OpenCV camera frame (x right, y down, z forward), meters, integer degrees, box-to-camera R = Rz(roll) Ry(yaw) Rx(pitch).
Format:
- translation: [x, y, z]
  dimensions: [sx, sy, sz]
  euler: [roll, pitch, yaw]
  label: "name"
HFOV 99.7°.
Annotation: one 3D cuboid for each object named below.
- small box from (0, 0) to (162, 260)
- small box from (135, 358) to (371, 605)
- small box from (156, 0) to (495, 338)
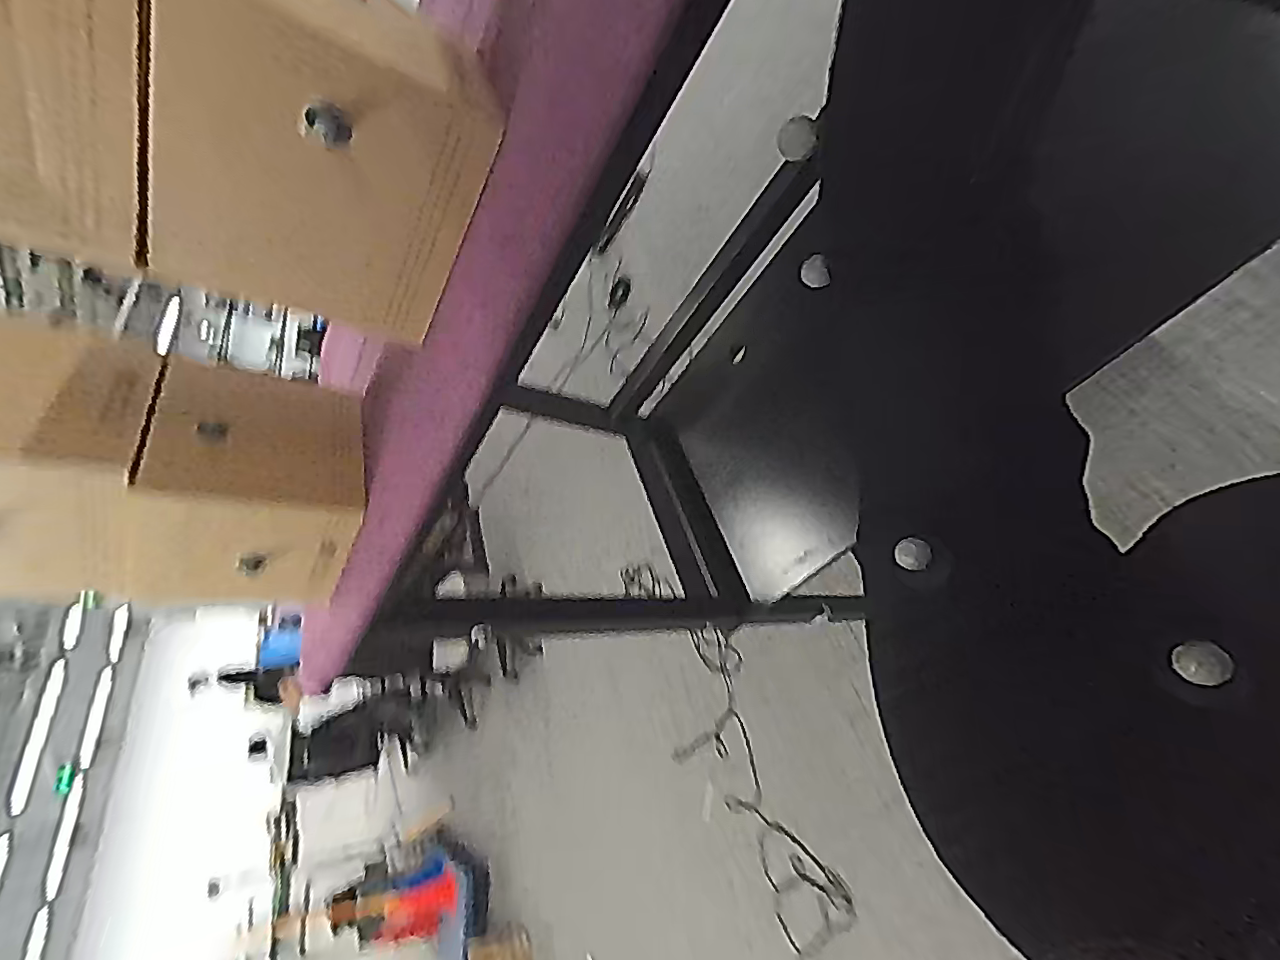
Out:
- translation: [-0.344, -0.251, 0.287]
  dimensions: [0.179, 0.176, 0.168]
  euler: [-53, 44, 32]
  label: "small box"
- translation: [-0.383, 0.009, 0.550]
  dimensions: [0.168, 0.176, 0.179]
  euler: [-51, 46, 32]
  label: "small box"
- translation: [-0.210, -0.232, 0.379]
  dimensions: [0.179, 0.176, 0.168]
  euler: [-52, 44, 34]
  label: "small box"
